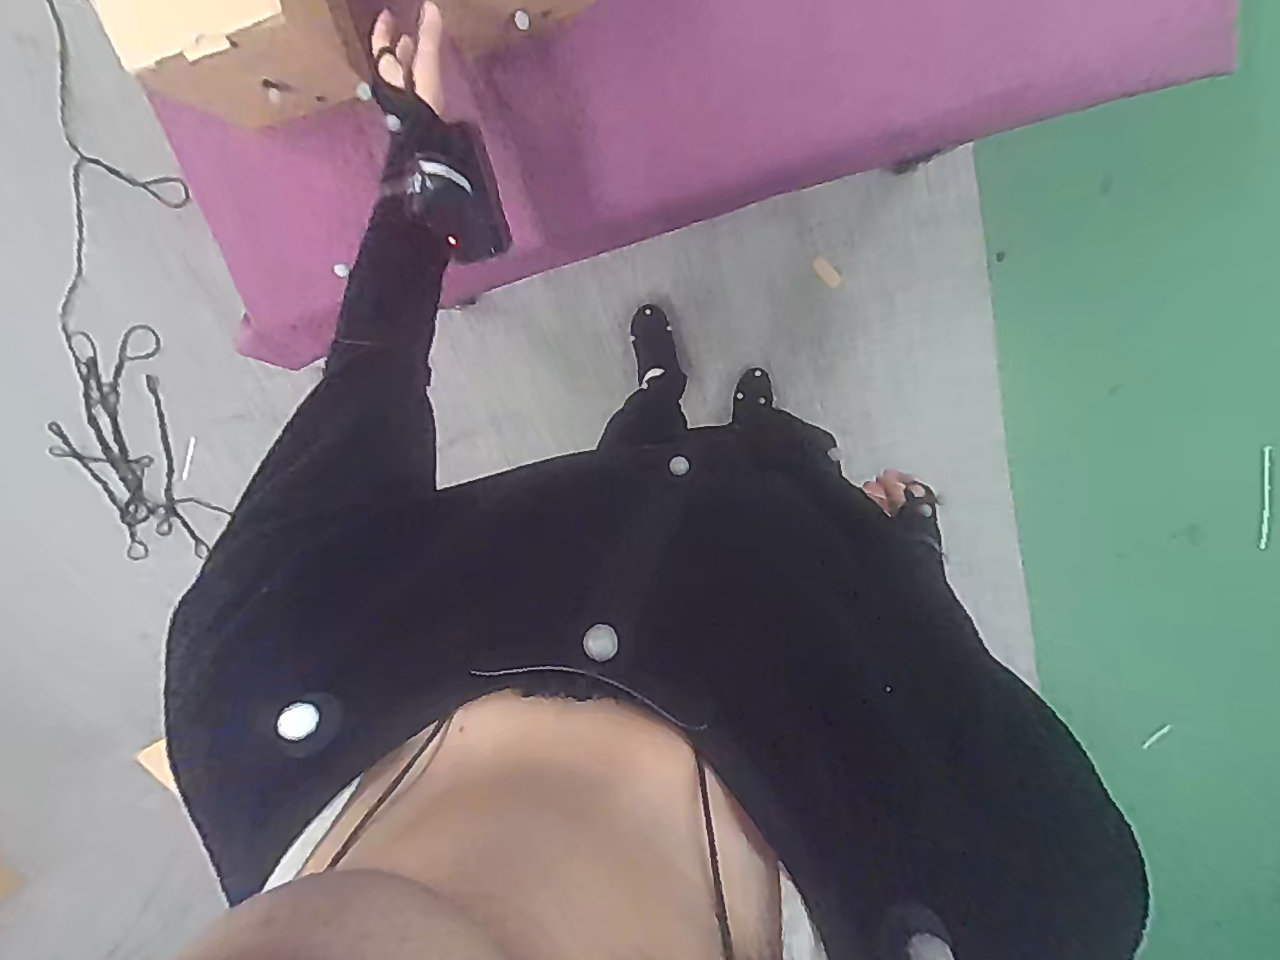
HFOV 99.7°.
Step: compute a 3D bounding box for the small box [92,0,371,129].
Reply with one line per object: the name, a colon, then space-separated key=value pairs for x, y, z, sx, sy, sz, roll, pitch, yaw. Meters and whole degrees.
small box: x=-0.410 y=-0.485 z=0.546 sx=0.168 sy=0.176 sz=0.179 roll=-14 pitch=106 yaw=6
